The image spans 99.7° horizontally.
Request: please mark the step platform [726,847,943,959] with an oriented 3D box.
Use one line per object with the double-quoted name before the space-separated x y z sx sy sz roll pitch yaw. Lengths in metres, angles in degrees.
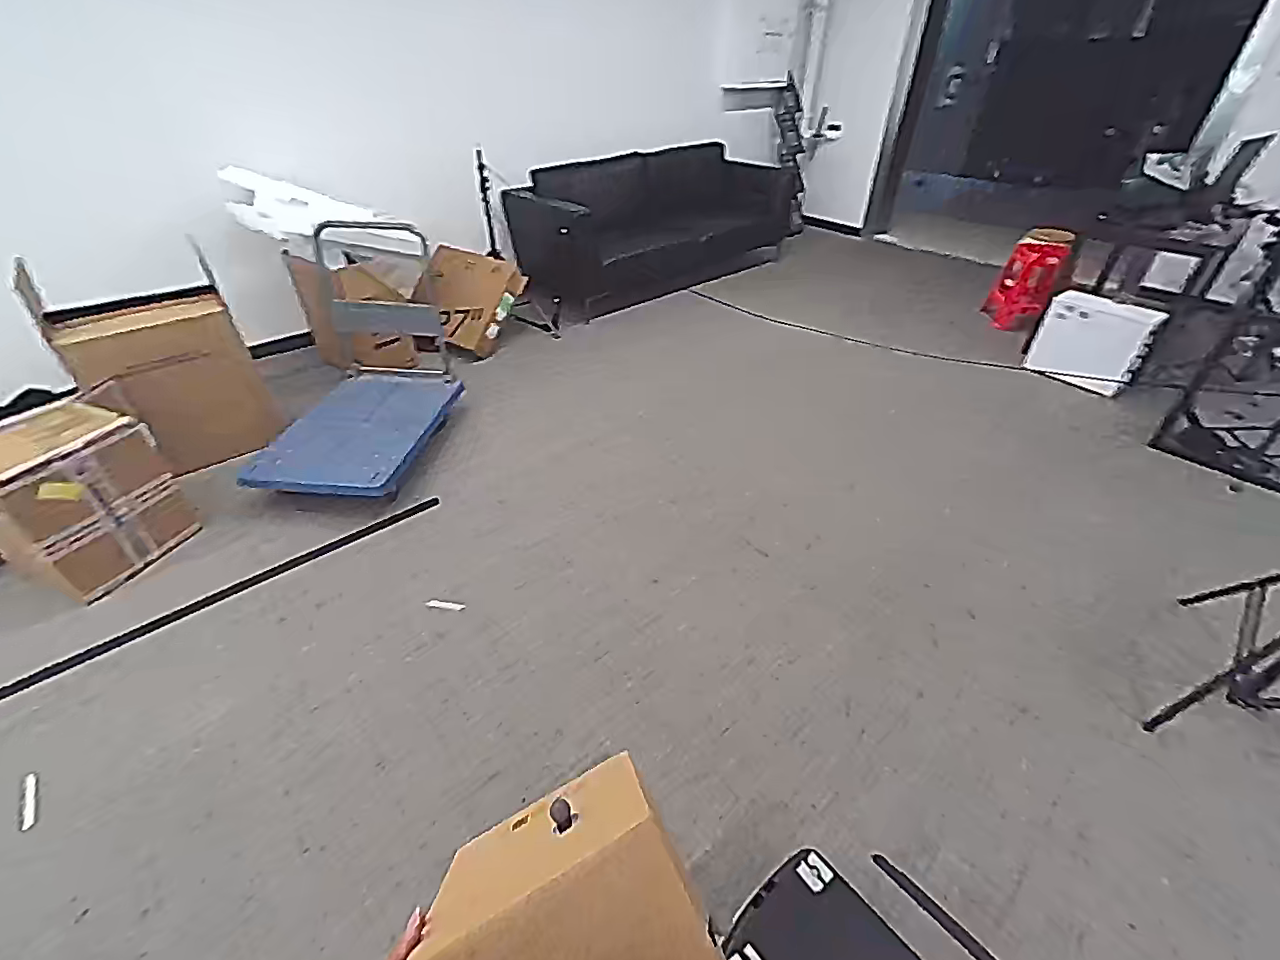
"step platform" 0.467 0.982 0.867 0.286 0.204 0.684 -28 45 -32
